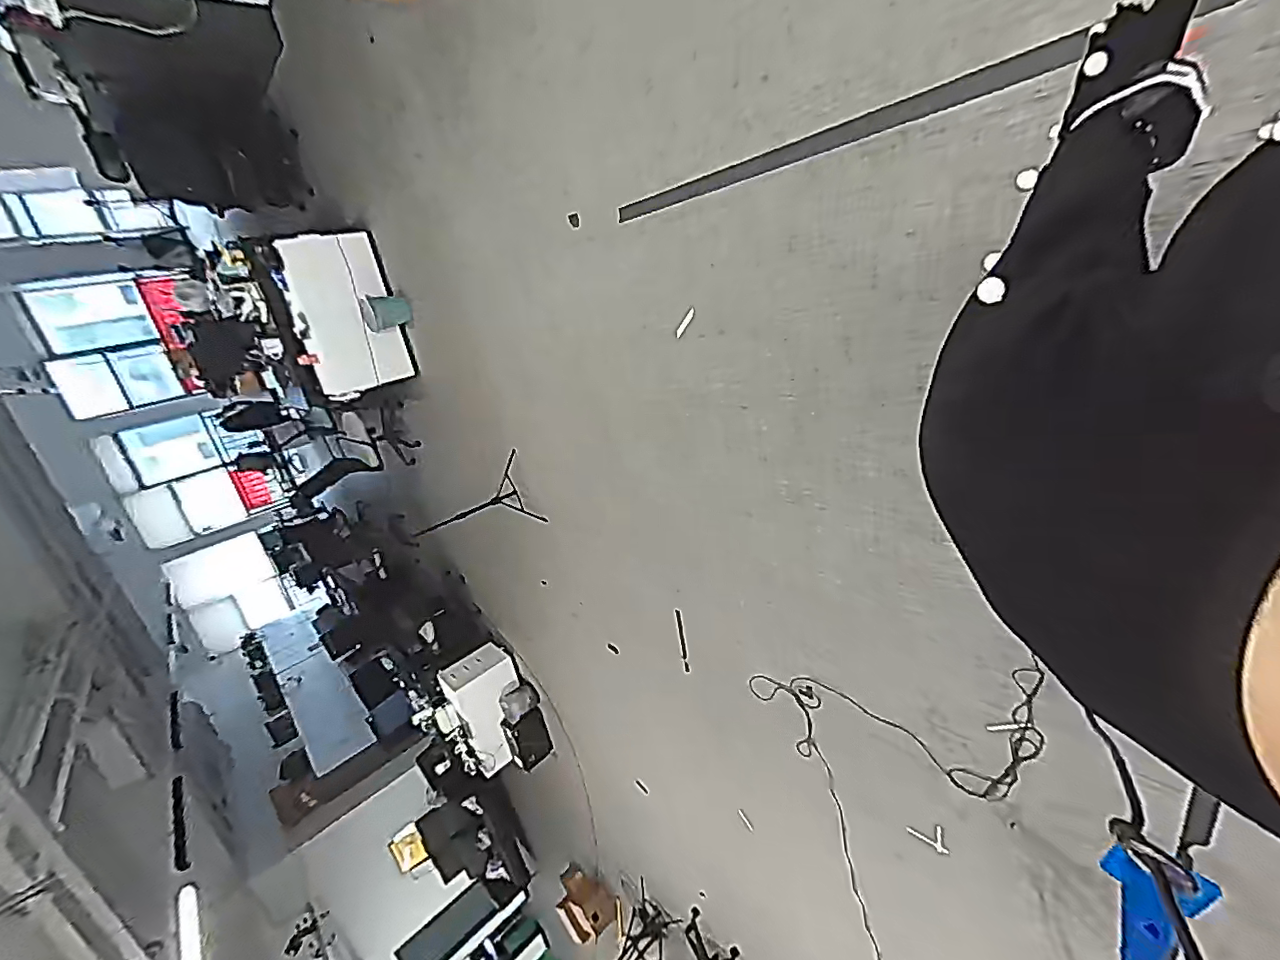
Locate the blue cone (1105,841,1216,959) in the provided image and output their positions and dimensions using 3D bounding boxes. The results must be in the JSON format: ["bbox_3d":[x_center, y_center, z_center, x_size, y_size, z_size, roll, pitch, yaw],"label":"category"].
[{"bbox_3d":[1.292,1.150,1.375,0.192,0.380,0.193,29,132,36],"label":"blue cone"}]
